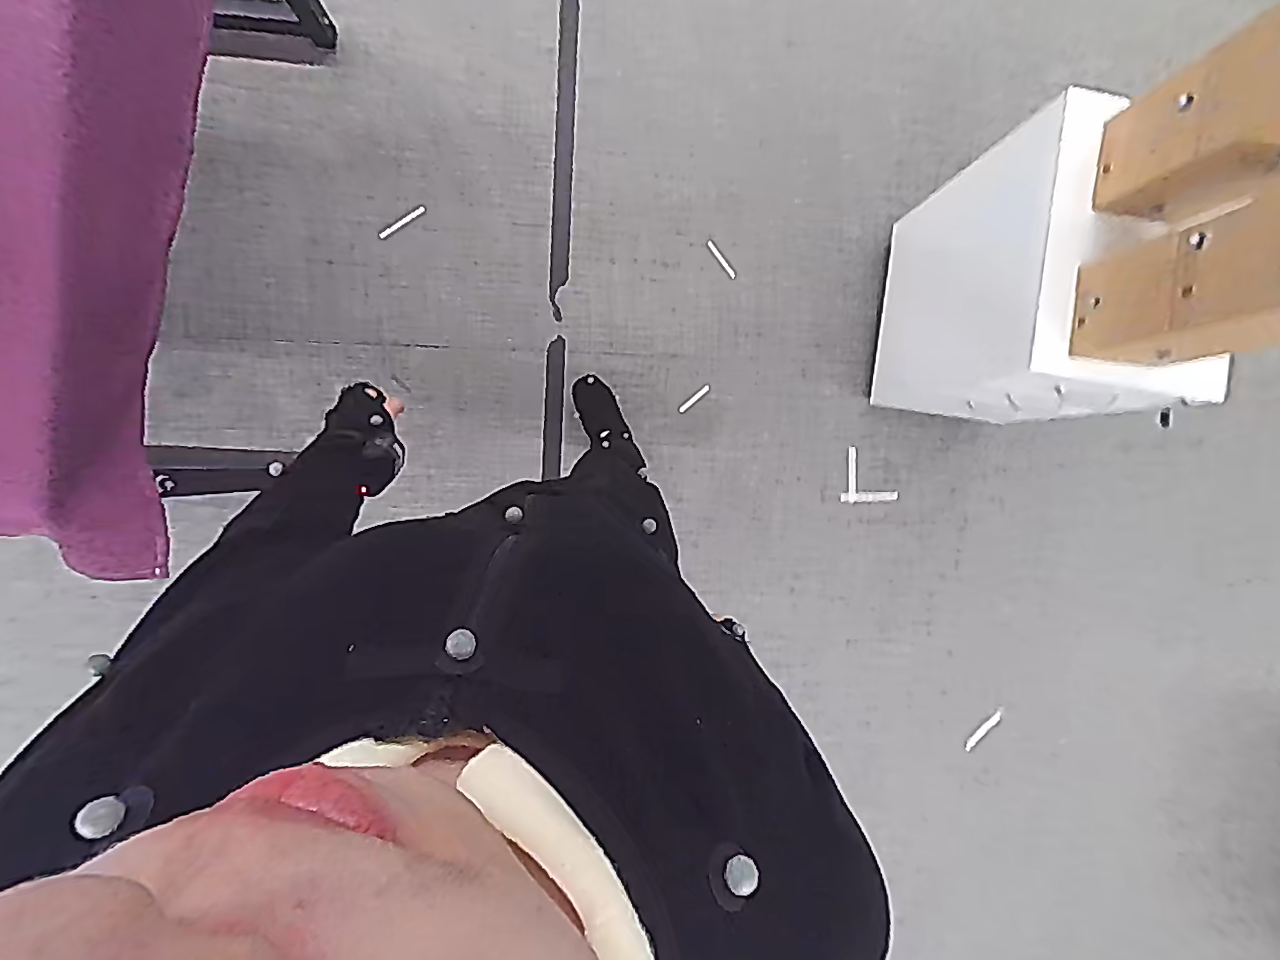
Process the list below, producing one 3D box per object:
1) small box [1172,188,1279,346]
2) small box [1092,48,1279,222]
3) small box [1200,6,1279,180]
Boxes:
[{"bbox_3d":[0.889,-0.288,0.735,0.179,0.176,0.168,6,91,-6],"label":"small box"},{"bbox_3d":[0.911,-0.552,0.892,0.179,0.176,0.168,8,91,-7],"label":"small box"},{"bbox_3d":[0.923,-0.546,0.728,0.168,0.176,0.179,8,92,-5],"label":"small box"}]
